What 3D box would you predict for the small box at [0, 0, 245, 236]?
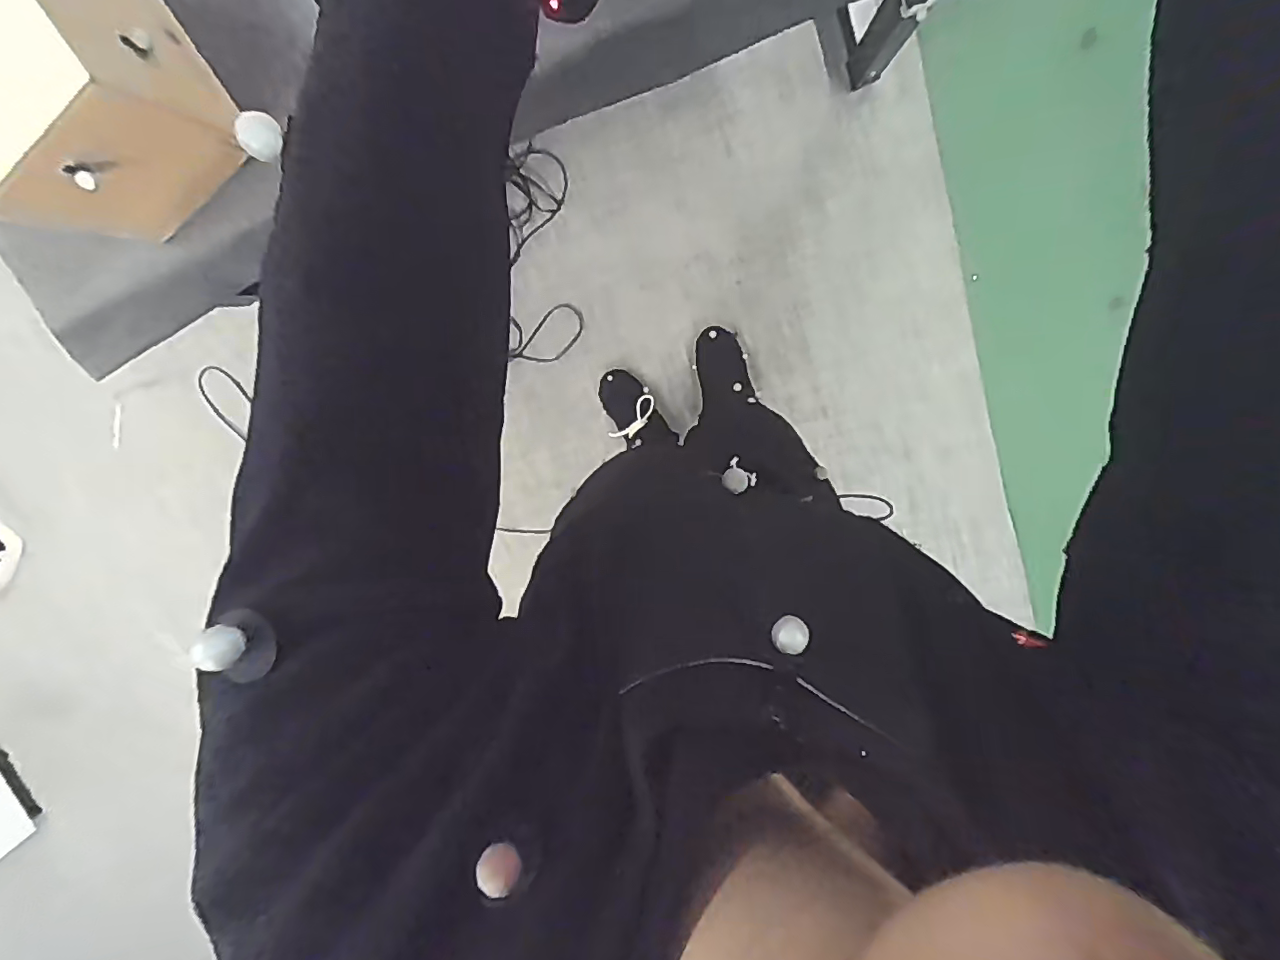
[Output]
[{"bbox_3d":[-0.512,-0.350,0.489,0.179,0.176,0.168,-29,101,16],"label":"small box"}]
